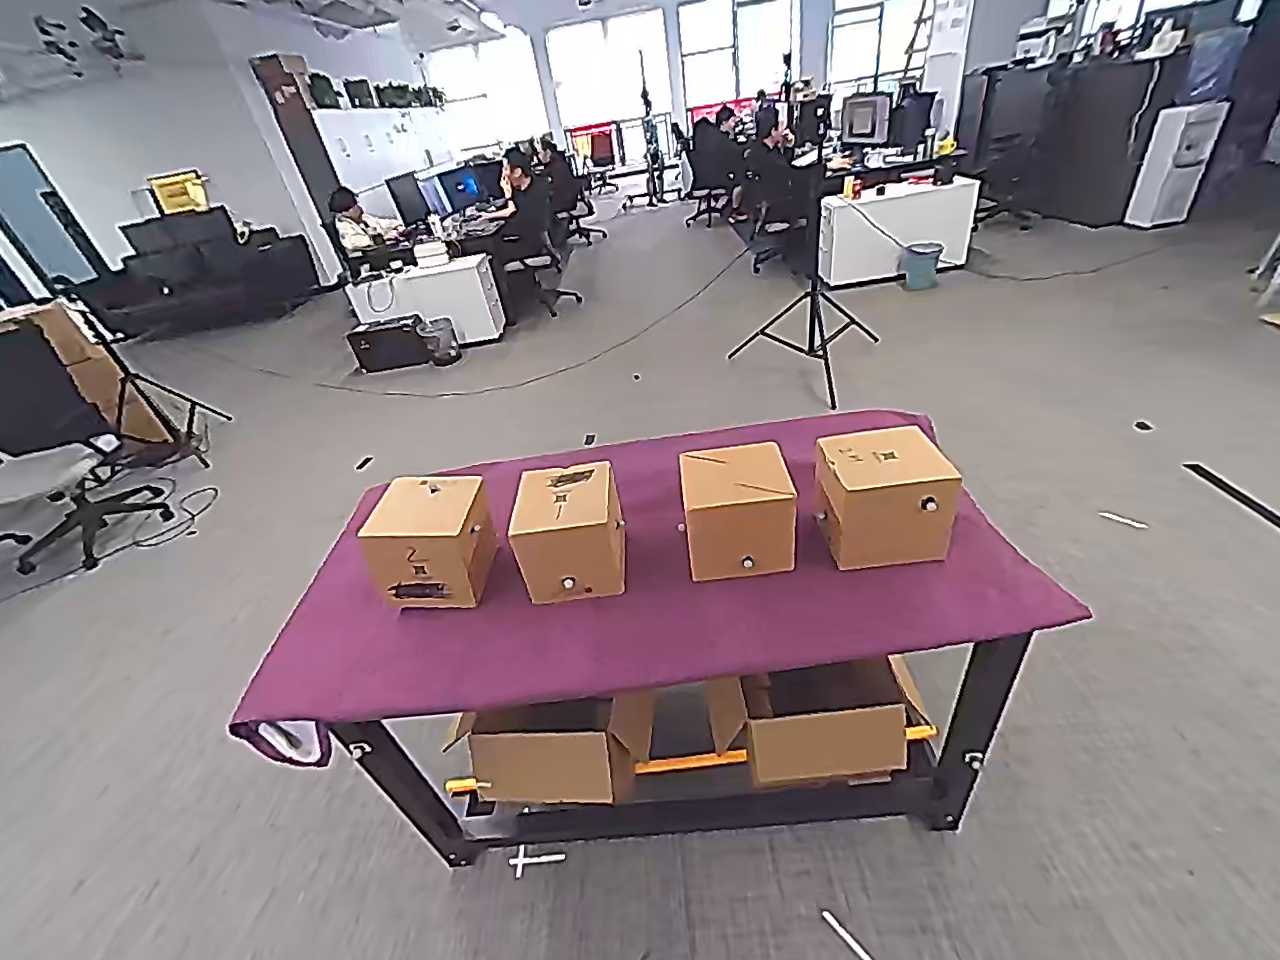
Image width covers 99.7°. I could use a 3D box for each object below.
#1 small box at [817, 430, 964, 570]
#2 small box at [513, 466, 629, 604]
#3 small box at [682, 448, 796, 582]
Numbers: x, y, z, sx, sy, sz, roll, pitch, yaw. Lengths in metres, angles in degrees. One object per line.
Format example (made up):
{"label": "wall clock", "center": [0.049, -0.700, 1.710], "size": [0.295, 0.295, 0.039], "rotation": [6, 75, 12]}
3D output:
{"label": "small box", "center": [0.413, 0.034, 0.927], "size": [0.179, 0.176, 0.168], "rotation": [-7, 32, 5]}
{"label": "small box", "center": [-0.115, 0.099, 0.978], "size": [0.168, 0.176, 0.179], "rotation": [-8, 35, 4]}
{"label": "small box", "center": [0.170, 0.057, 0.956], "size": [0.179, 0.176, 0.168], "rotation": [-7, 33, 6]}
